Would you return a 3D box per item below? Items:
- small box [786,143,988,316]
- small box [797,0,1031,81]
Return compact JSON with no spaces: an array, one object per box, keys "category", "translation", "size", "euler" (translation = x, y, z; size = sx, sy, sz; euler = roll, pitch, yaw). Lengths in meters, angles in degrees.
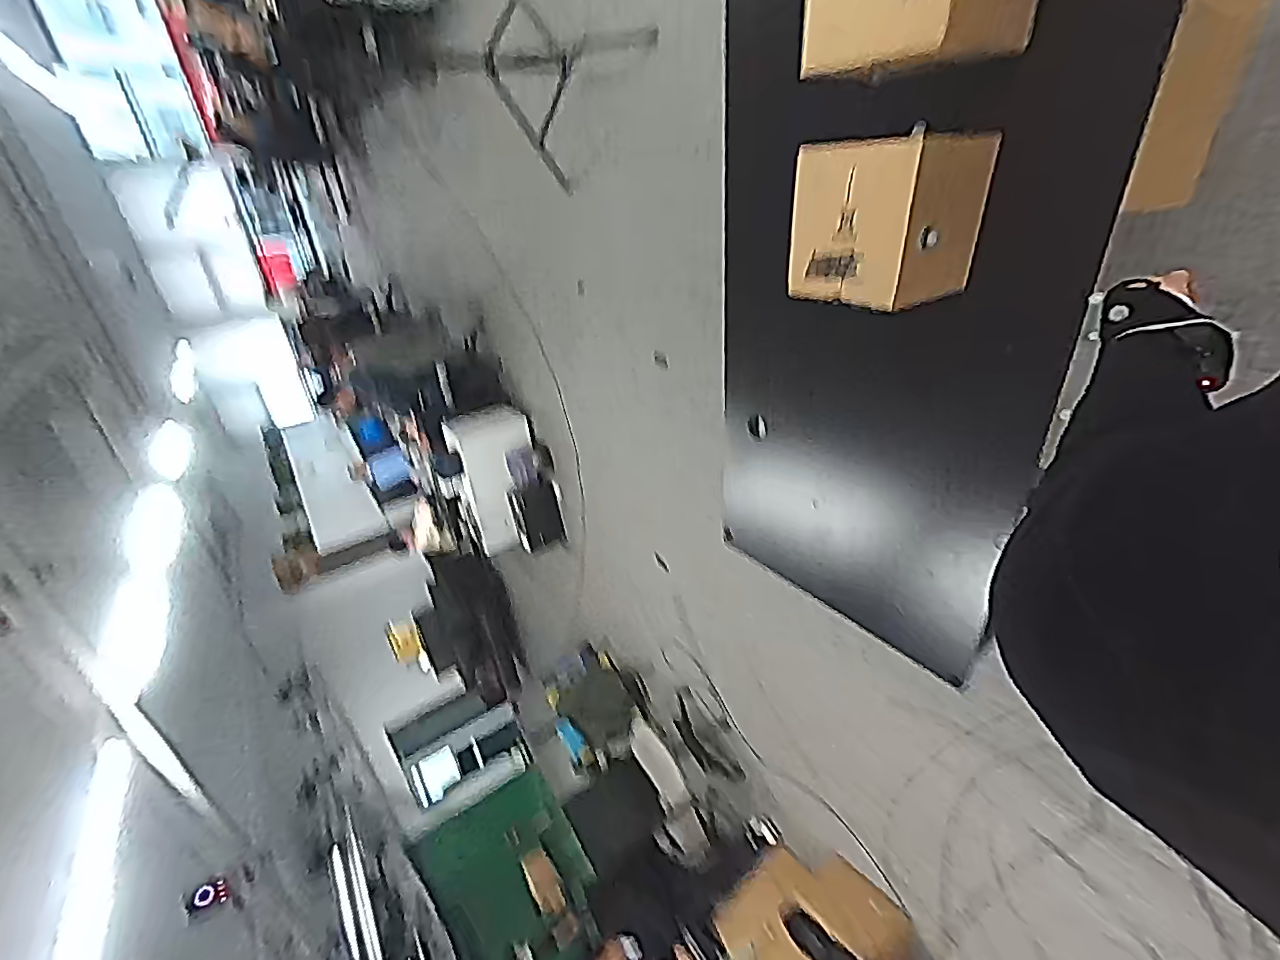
[{"category":"small box","translation":[0.315,-0.329,0.704],"size":[0.168,0.176,0.179],"euler":[33,136,46]},{"category":"small box","translation":[0.297,-0.542,0.582],"size":[0.179,0.176,0.168],"euler":[34,138,47]}]
